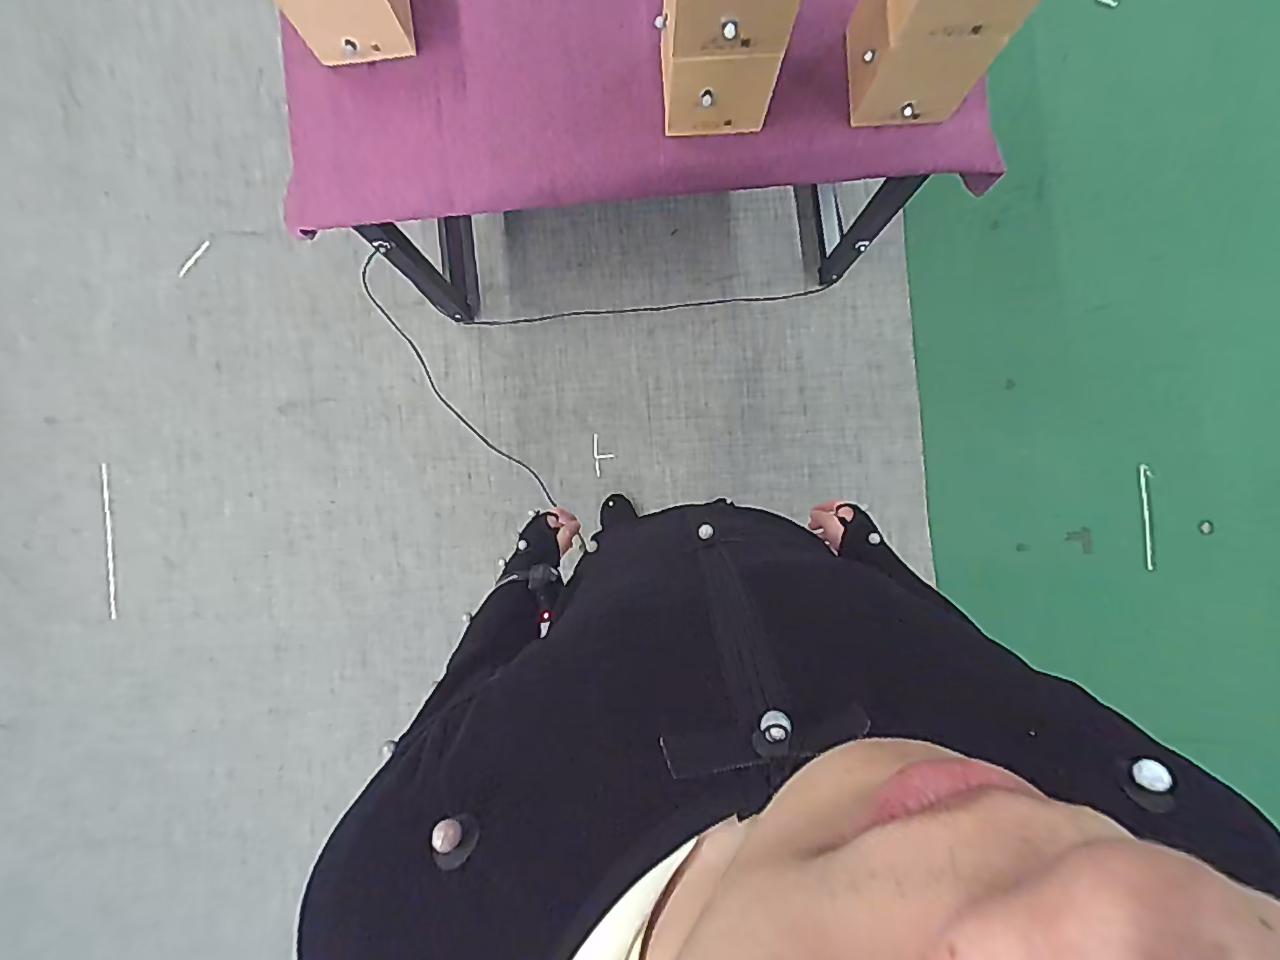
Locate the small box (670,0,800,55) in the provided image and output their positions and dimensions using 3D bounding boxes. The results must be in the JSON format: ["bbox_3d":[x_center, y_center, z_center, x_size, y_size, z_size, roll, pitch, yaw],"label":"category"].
[{"bbox_3d":[0.123,-0.700,0.697,0.168,0.176,0.179,-2,88,1],"label":"small box"}]

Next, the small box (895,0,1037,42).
[{"bbox_3d":[0.439,-0.712,0.689,0.168,0.176,0.179,-1,87,2],"label":"small box"}]

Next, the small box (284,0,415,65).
[{"bbox_3d":[-0.484,-0.826,0.872,0.168,0.176,0.179,-7,89,1],"label":"small box"}]

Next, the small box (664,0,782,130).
[{"bbox_3d":[0.124,-0.690,0.861,0.168,0.176,0.179,-3,87,1],"label":"small box"}]
